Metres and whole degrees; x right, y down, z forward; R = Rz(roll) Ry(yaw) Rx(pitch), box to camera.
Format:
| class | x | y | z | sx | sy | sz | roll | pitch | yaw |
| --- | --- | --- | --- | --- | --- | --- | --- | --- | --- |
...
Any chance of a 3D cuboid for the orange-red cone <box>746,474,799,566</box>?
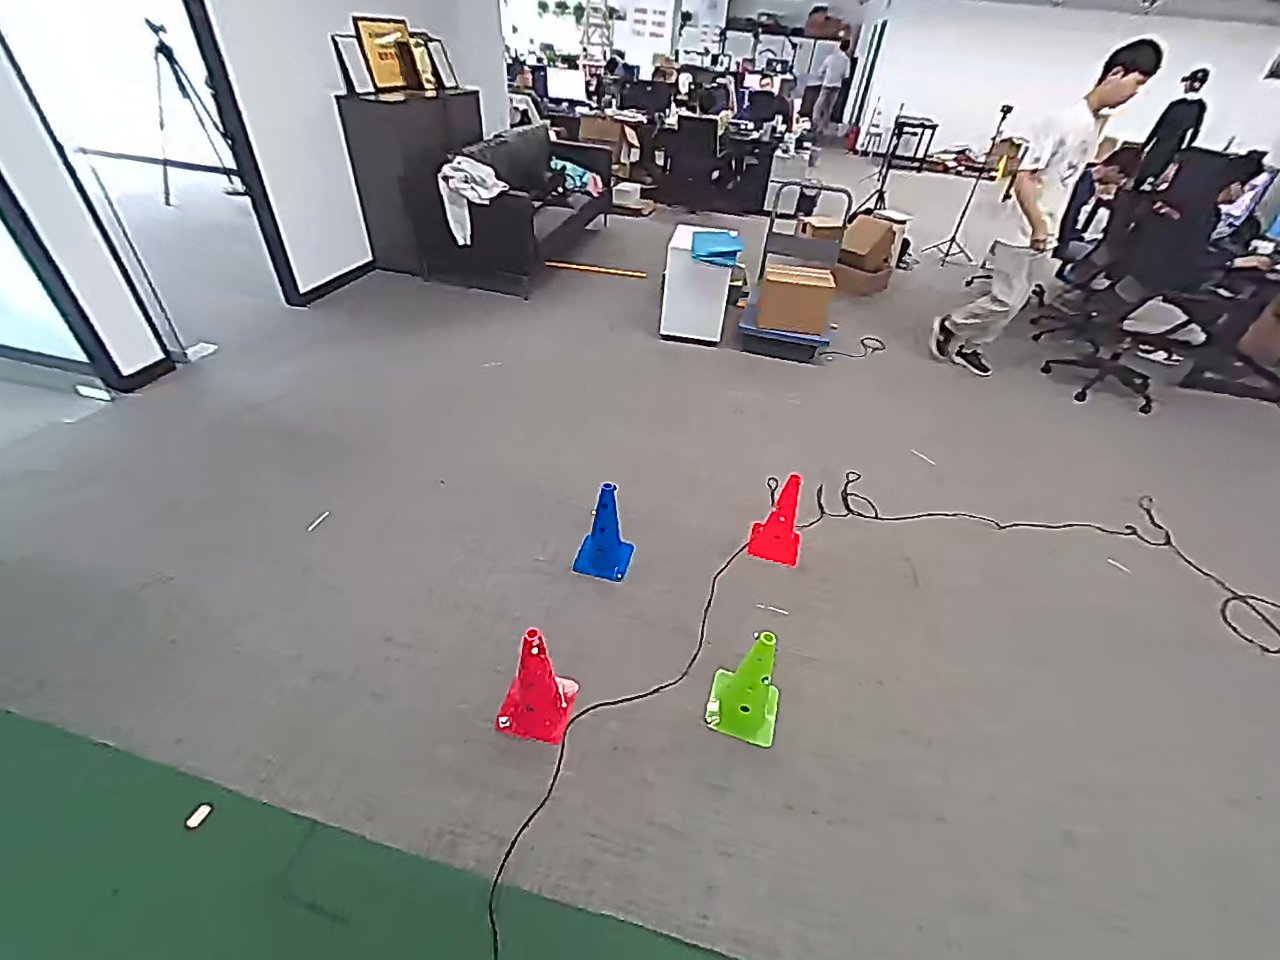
| class | x | y | z | sx | sy | sz | roll | pitch | yaw |
| --- | --- | --- | --- | --- | --- | --- | --- | --- | --- |
| orange-red cone | 0.547 | 0.128 | 2.077 | 0.198 | 0.360 | 0.199 | 14 | 41 | 13 |

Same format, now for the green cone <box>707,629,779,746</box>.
| class | x | y | z | sx | sy | sz | roll | pitch | yaw |
| --- | --- | --- | --- | --- | --- | --- | --- | --- | --- |
| green cone | 0.326 | 0.550 | 1.521 | 0.200 | 0.368 | 0.202 | 14 | 38 | 10 |
